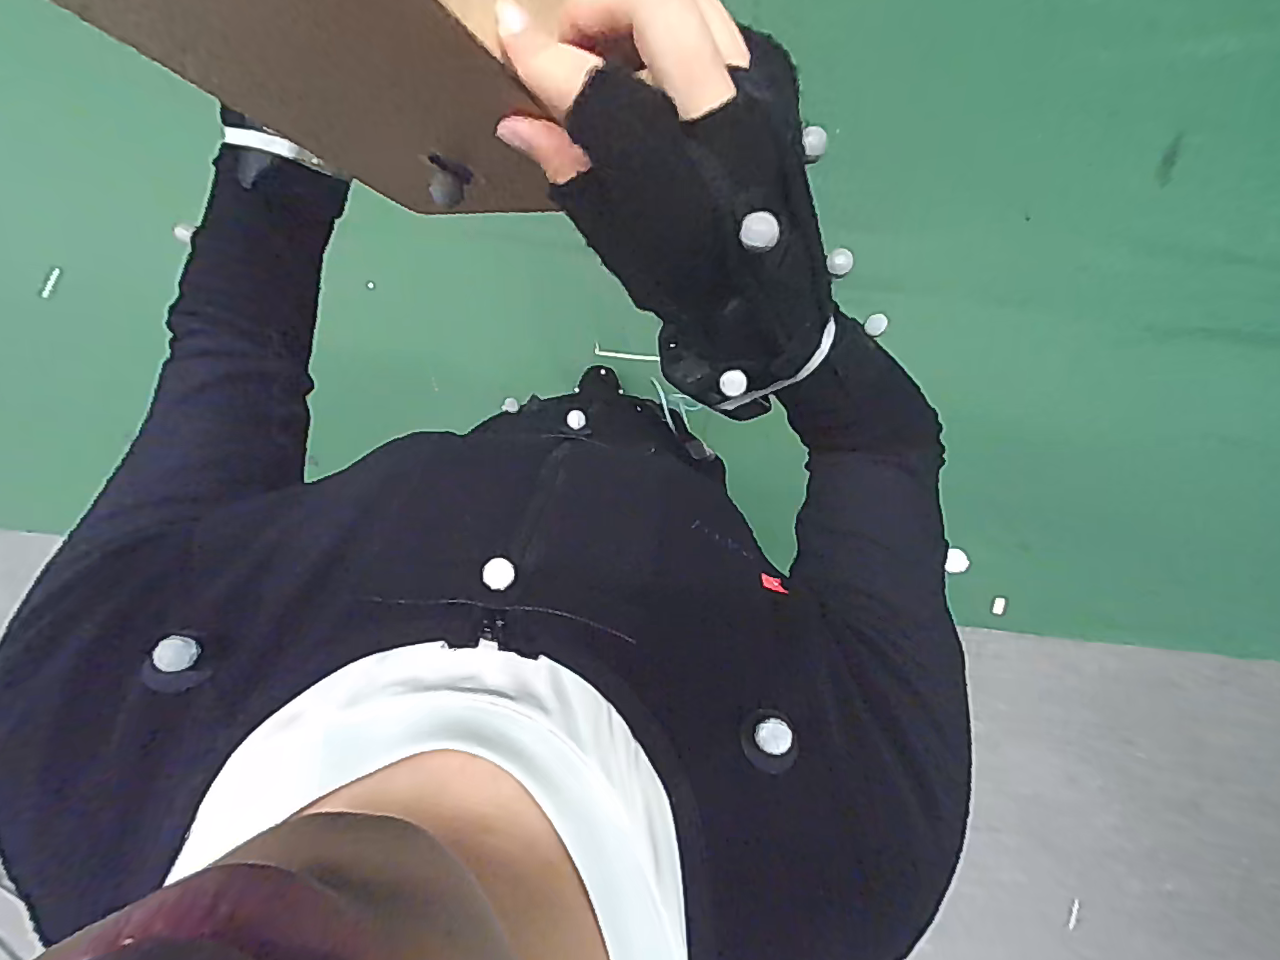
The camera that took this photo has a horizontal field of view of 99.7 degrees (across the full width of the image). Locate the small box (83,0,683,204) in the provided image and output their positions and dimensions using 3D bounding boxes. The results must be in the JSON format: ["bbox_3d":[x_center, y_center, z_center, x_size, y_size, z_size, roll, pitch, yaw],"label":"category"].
[{"bbox_3d":[-0.088,-0.237,0.226,0.179,0.176,0.168,17,94,32],"label":"small box"}]
